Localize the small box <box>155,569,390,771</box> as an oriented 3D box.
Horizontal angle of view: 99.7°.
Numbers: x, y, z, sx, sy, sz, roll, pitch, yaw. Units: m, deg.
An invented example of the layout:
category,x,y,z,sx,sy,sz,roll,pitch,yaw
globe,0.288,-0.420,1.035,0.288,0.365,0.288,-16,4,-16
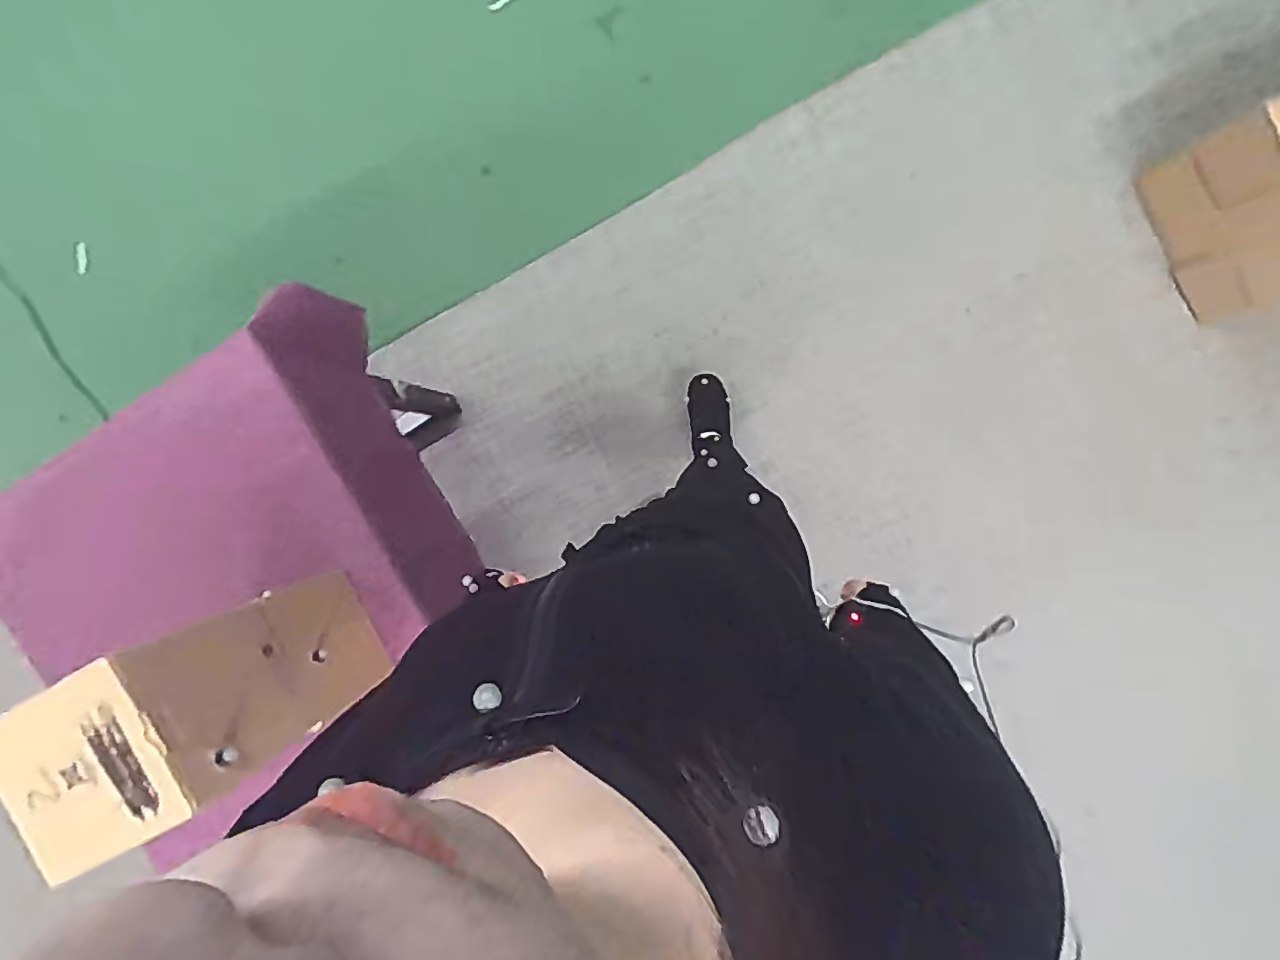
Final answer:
category,x,y,z,sx,sy,sz,roll,pitch,yaw
small box,-0.482,0.245,0.739,0.168,0.176,0.179,-27,91,5
